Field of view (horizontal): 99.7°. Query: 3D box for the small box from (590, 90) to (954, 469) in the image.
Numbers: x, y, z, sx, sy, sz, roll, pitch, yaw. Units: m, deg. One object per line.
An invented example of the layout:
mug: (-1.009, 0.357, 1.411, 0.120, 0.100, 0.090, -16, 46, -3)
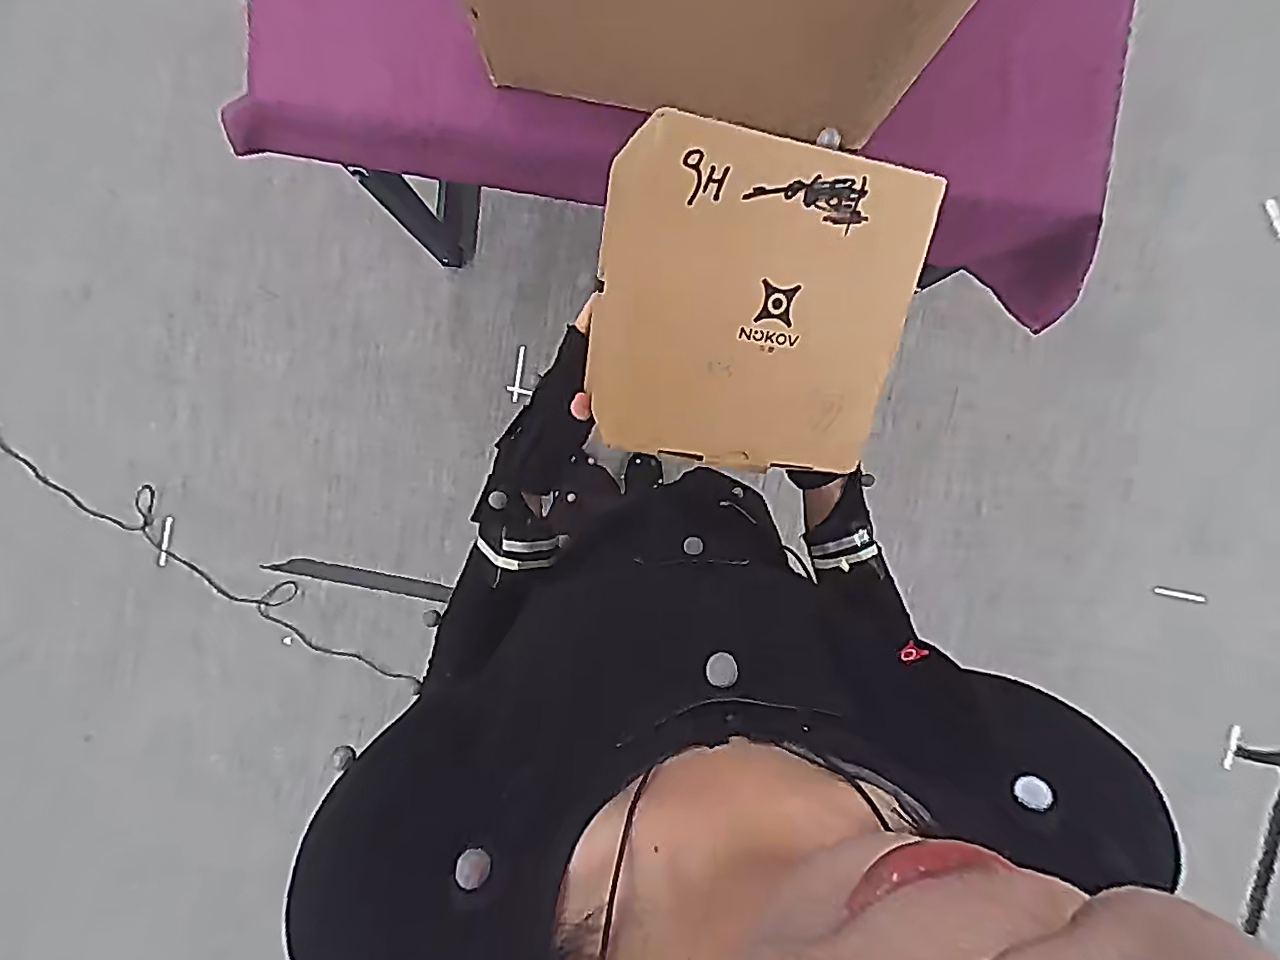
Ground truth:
small box: (0.061, -0.124, 0.370, 0.168, 0.176, 0.179, 5, 111, -13)
